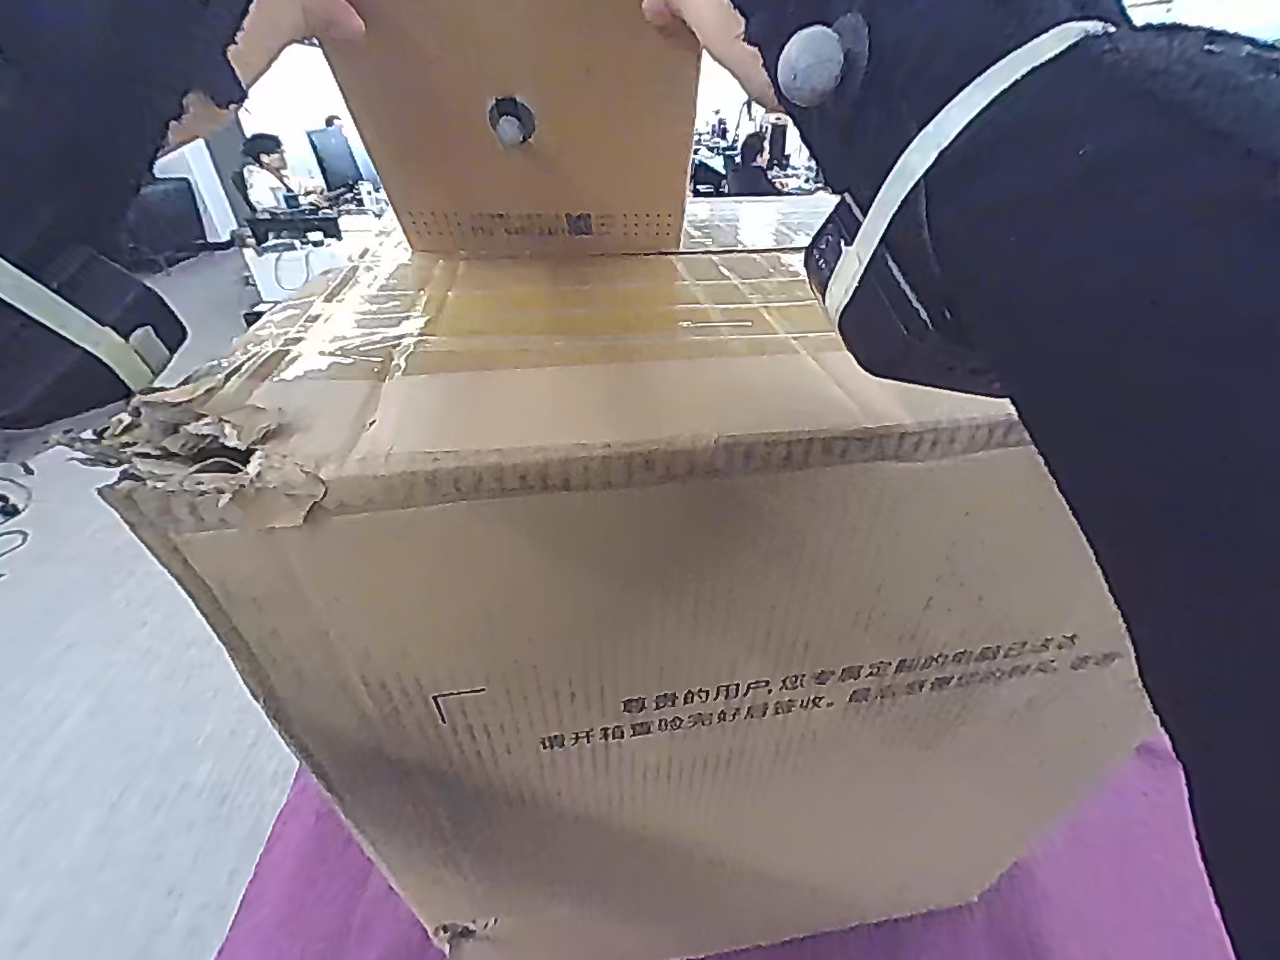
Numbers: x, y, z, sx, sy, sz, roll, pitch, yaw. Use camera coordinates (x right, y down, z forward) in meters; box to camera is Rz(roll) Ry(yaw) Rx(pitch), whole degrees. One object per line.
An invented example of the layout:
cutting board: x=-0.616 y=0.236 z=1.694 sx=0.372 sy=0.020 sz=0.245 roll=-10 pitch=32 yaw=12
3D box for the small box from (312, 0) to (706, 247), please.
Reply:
small box: x=-0.053 y=-0.250 z=0.293 sx=0.168 sy=0.176 sz=0.179 roll=0 pitch=65 yaw=-2
